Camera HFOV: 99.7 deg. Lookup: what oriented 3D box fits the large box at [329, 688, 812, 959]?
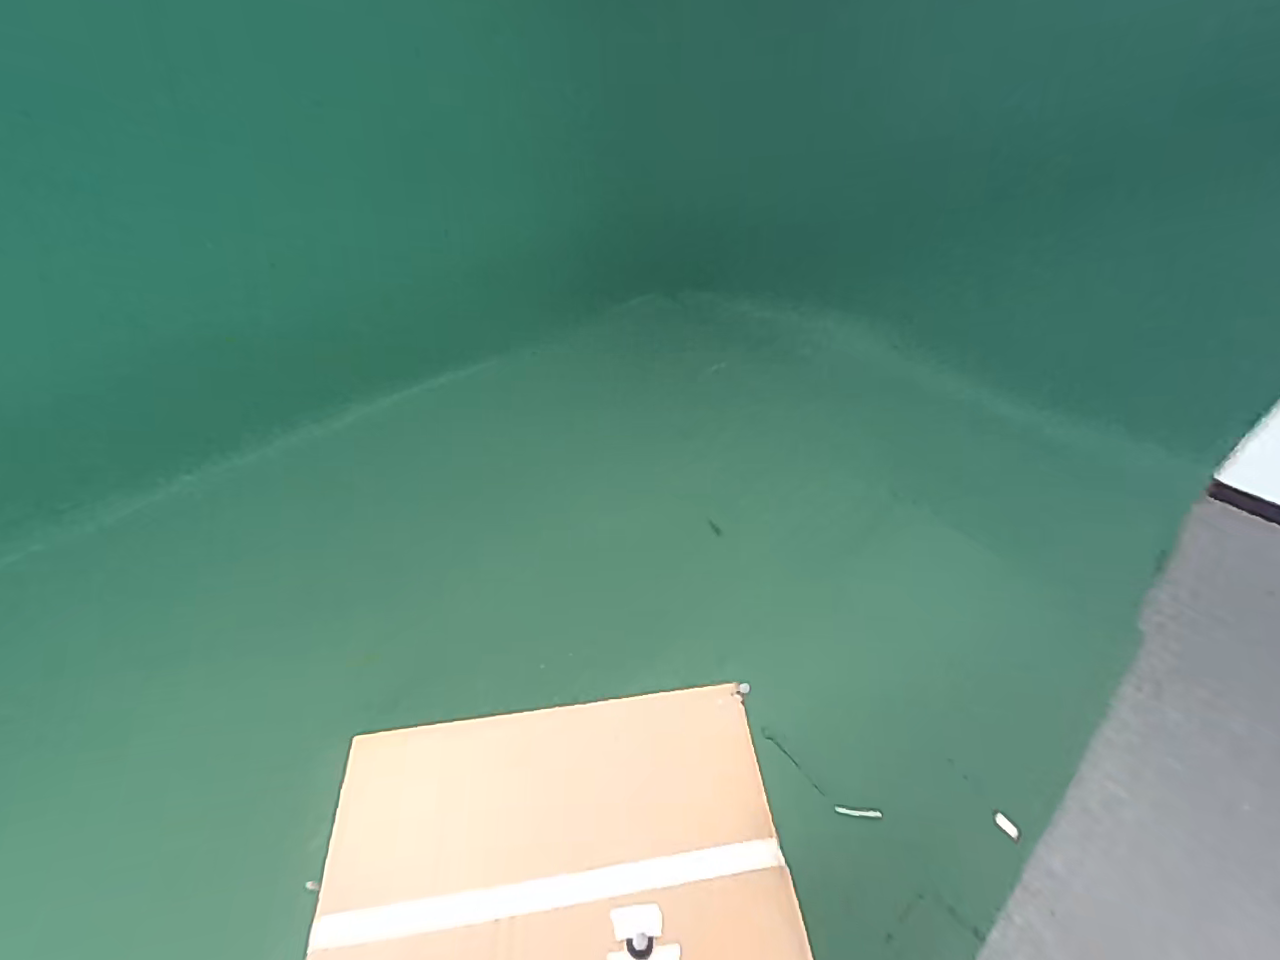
[{"bbox_3d":[-0.066,0.462,0.588,0.408,0.320,0.320,-5,49,-6],"label":"large box"}]
